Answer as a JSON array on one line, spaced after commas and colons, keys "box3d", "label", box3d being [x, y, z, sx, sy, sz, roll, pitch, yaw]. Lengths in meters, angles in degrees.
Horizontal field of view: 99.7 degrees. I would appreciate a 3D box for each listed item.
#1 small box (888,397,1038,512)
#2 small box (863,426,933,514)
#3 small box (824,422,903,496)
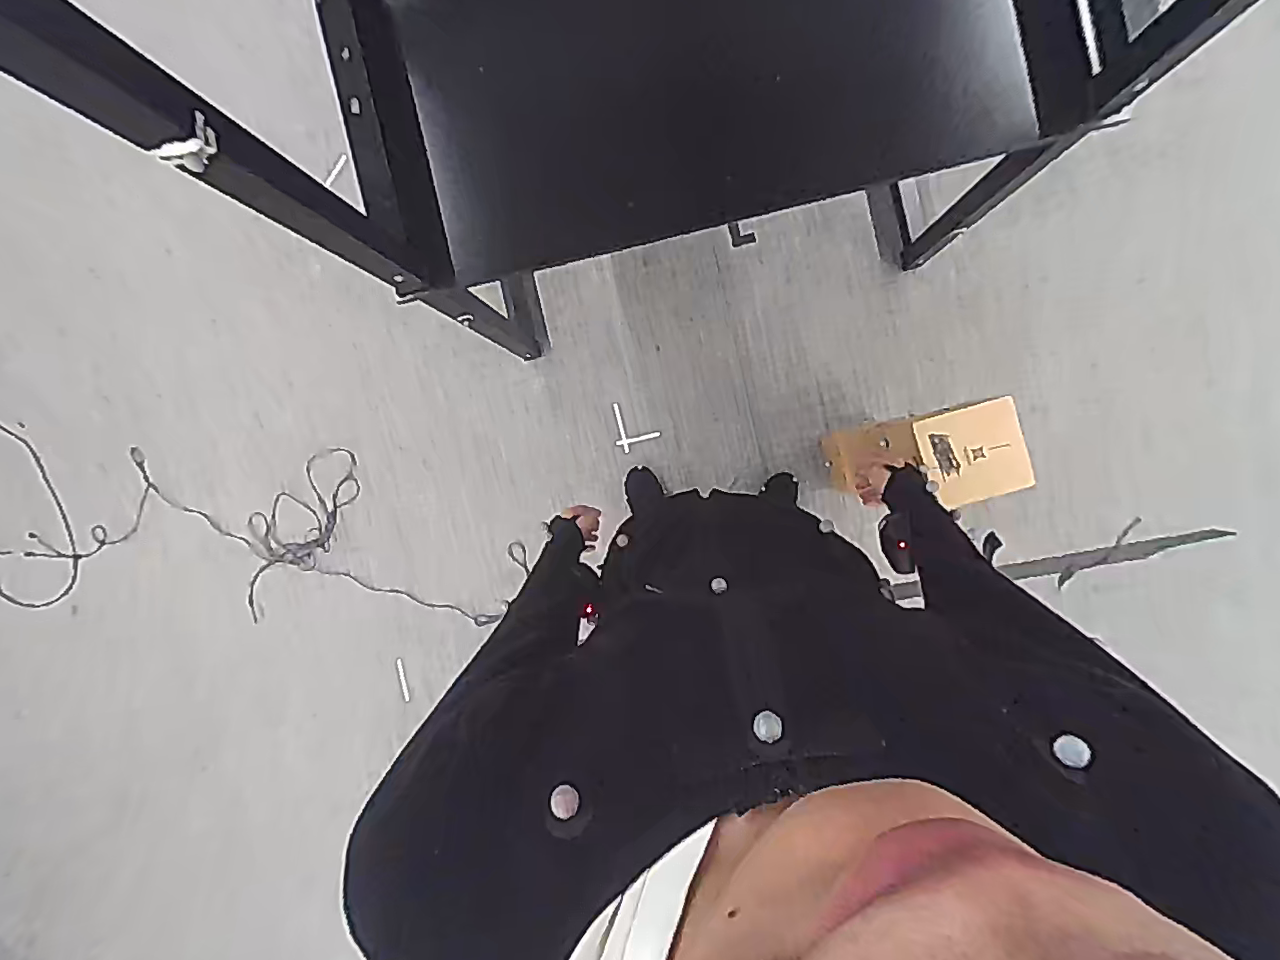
[{"box3d": [0.588, -0.045, 1.015, 0.179, 0.176, 0.168, -16, 91, 5], "label": "small box"}, {"box3d": [0.610, -0.038, 1.179, 0.168, 0.176, 0.179, -16, 91, 6], "label": "small box"}, {"box3d": [0.634, -0.060, 1.504, 0.179, 0.176, 0.168, -14, 91, 6], "label": "small box"}]
